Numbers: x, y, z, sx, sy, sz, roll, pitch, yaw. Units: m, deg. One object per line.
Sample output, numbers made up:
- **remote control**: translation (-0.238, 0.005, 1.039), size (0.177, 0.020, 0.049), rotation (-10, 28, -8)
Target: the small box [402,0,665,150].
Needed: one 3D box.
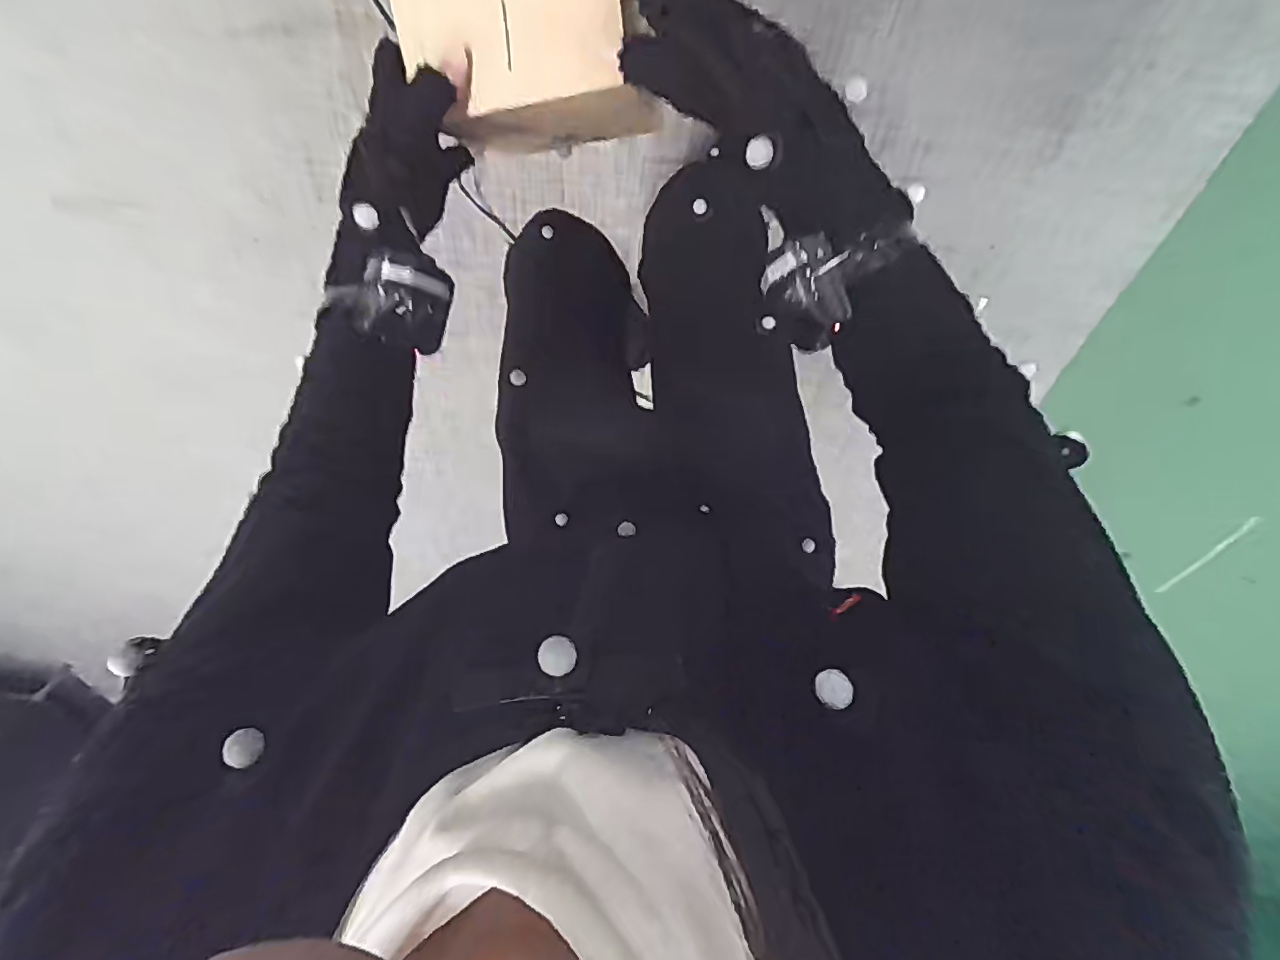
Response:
- **small box**: translation (-0.076, -0.390, 0.434), size (0.168, 0.176, 0.179), rotation (-2, 112, 12)
